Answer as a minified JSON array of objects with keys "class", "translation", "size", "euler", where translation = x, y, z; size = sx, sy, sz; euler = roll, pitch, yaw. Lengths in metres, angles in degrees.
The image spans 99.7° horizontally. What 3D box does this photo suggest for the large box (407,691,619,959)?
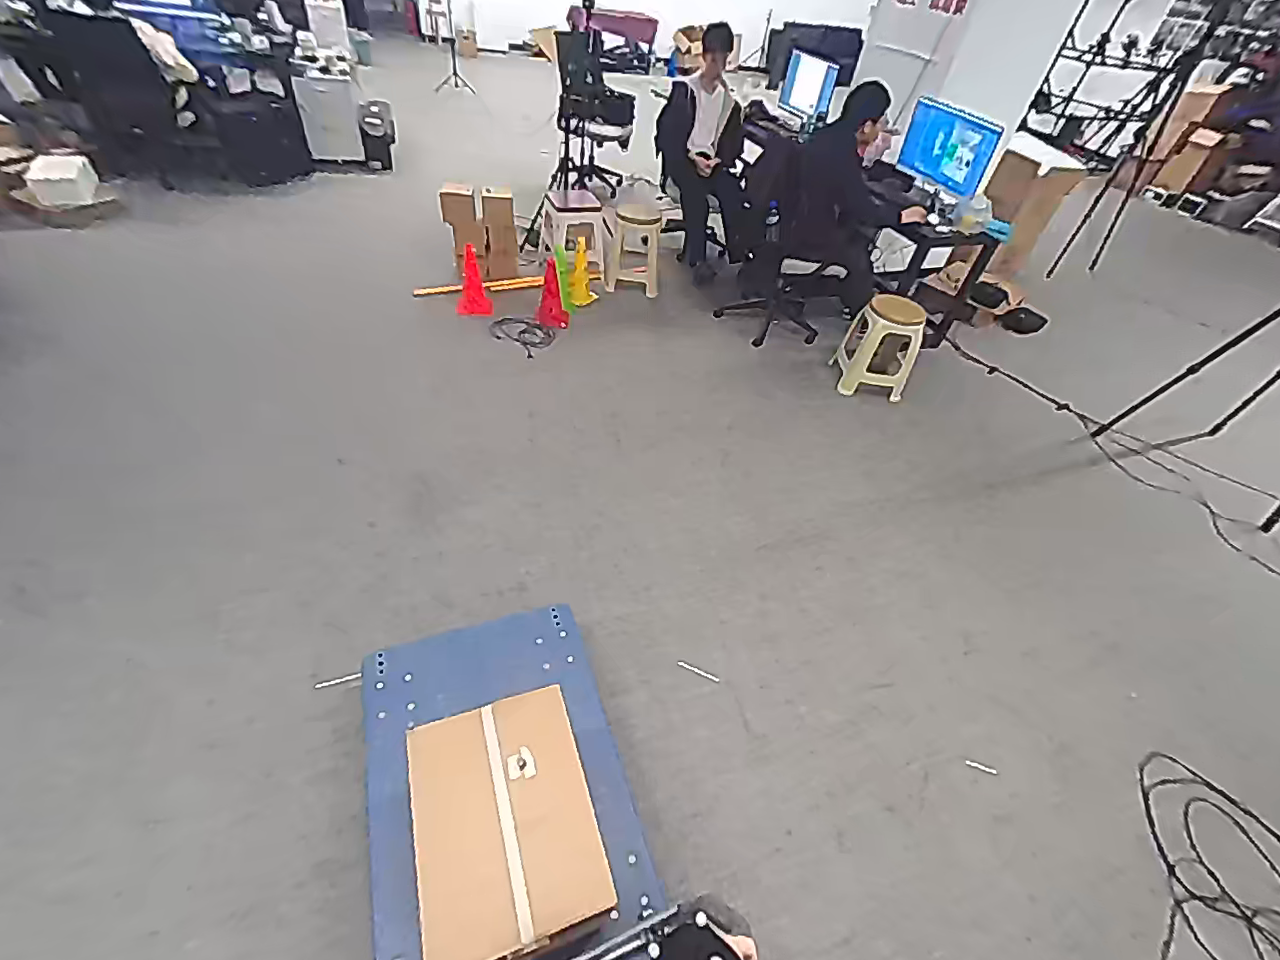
[{"class":"large box","translation":[-0.260,0.720,1.089],"size":[0.320,0.320,0.408],"euler":[-10,47,-19]}]
